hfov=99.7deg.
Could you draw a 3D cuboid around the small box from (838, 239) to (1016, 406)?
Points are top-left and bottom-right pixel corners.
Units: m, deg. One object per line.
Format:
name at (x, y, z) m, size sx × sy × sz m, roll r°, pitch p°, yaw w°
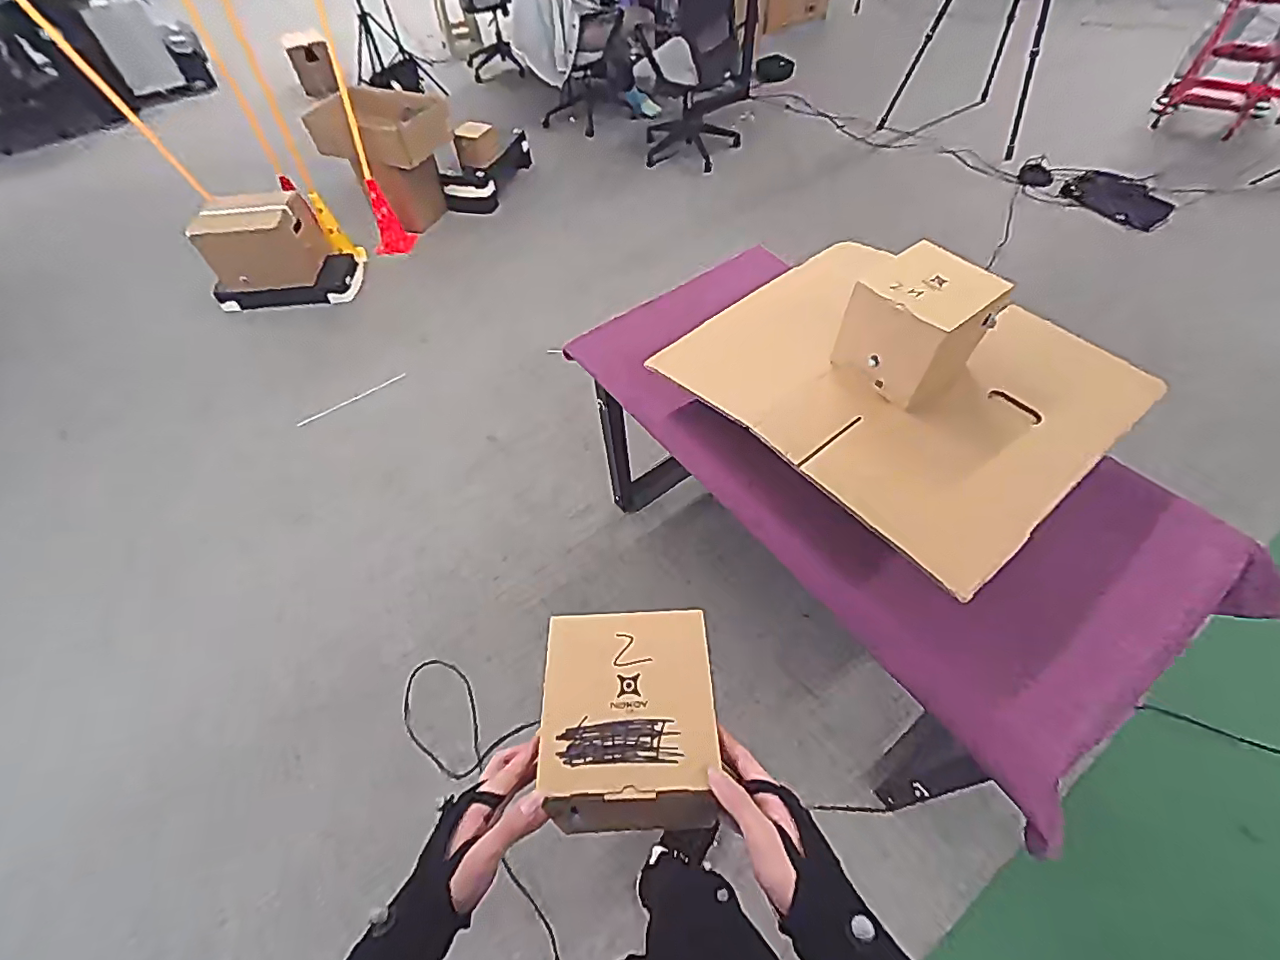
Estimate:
small box at (0.461, -0.259, 0.899) m, size 0.179 × 0.176 × 0.168 m, roll -33°, pitch 60°, yaw -18°
